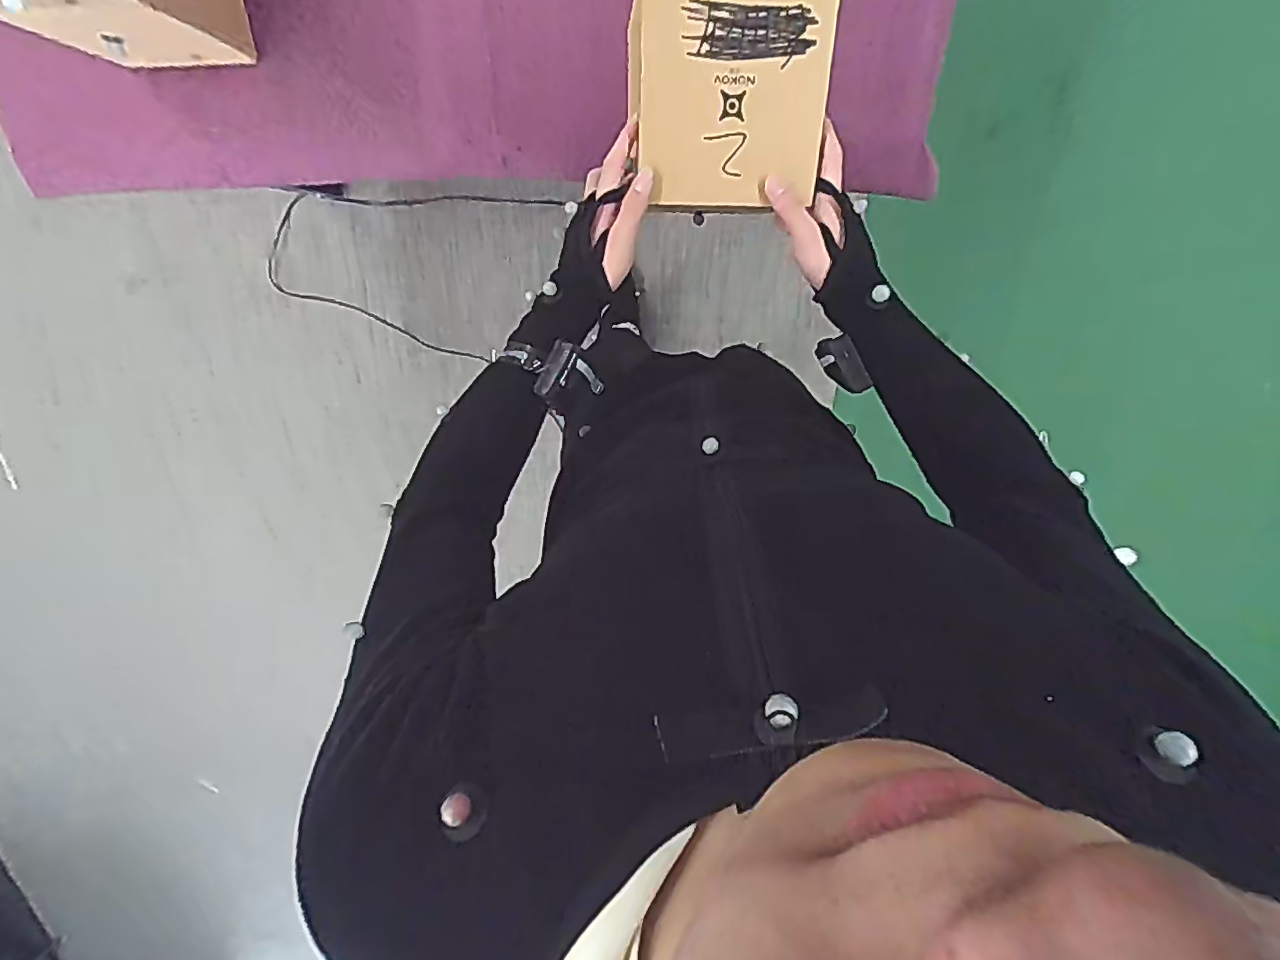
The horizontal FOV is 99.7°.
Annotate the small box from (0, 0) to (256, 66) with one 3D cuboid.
[{"bbox_3d":[-0.557,-0.568,0.577,0.168,0.176,0.179,-1,111,0],"label":"small box"}]

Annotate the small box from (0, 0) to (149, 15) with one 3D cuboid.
[{"bbox_3d":[-0.556,-0.509,0.424,0.168,0.176,0.179,-1,113,0],"label":"small box"}]
